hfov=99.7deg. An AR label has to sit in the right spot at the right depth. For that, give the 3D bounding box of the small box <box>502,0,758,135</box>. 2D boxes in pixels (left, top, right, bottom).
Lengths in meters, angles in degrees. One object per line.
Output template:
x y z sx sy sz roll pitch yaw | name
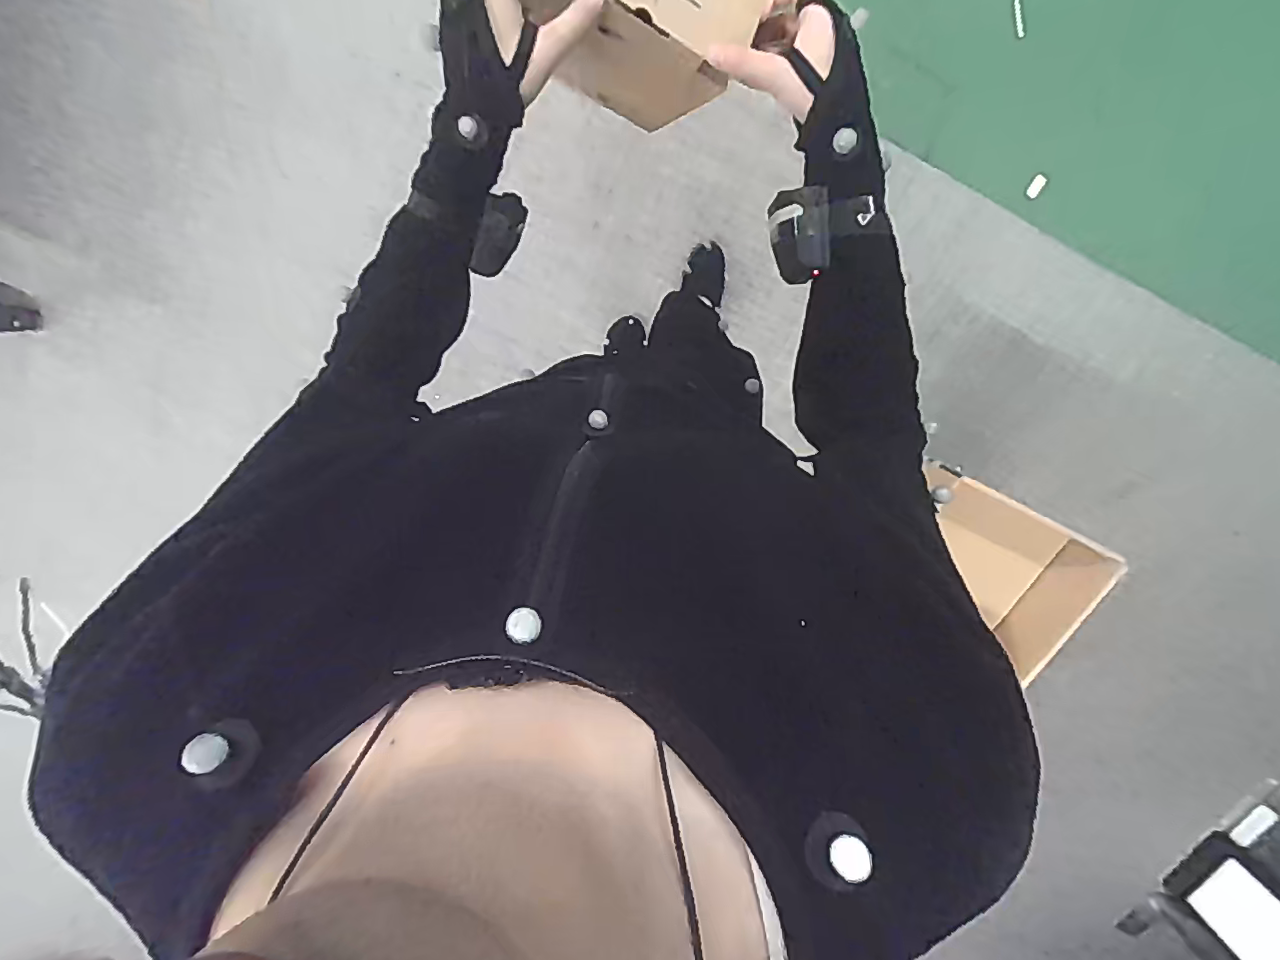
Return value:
-0.006 -0.417 0.436 0.168 0.176 0.179 14 104 -26 | small box
